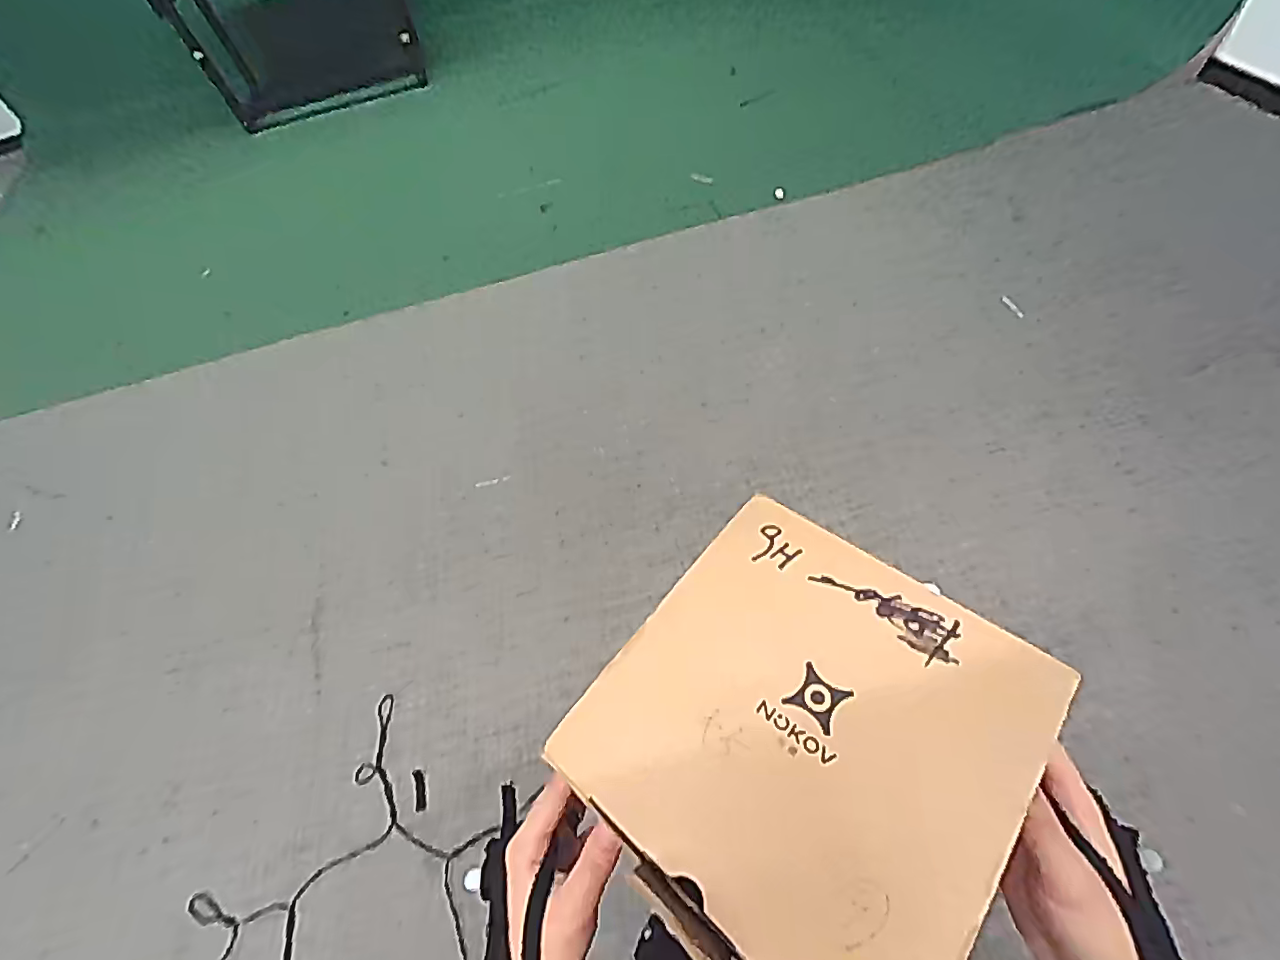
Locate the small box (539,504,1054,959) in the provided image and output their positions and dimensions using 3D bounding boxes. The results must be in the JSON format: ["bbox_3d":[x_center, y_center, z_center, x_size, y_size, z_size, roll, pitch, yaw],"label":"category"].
[{"bbox_3d":[0.078,0.154,0.307,0.168,0.176,0.179,32,65,28],"label":"small box"}]
